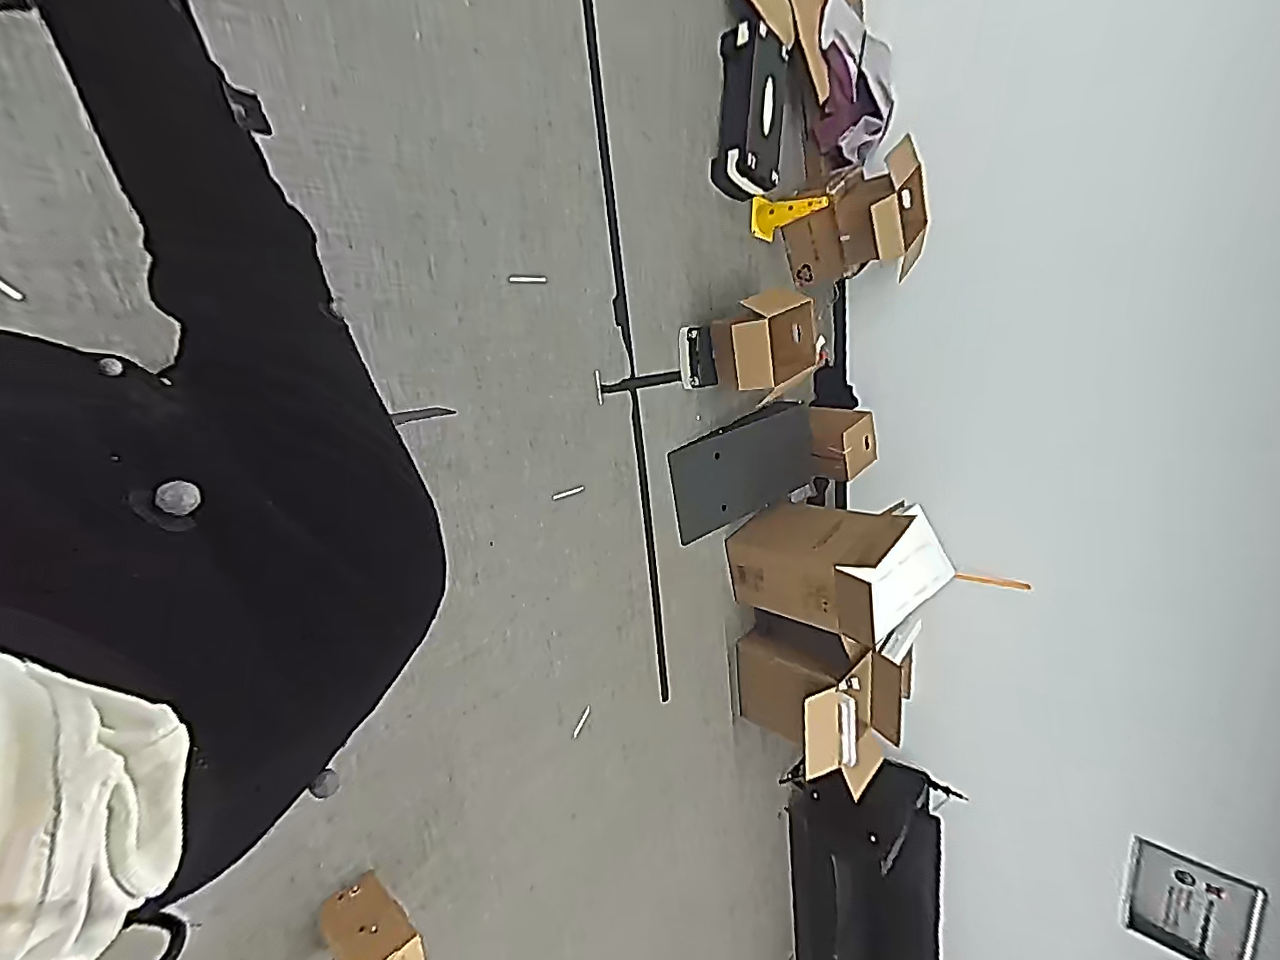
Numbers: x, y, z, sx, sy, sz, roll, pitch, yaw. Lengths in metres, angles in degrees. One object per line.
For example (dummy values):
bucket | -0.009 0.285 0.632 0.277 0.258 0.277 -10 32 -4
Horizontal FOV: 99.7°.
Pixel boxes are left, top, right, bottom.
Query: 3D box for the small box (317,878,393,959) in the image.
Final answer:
small box | -0.844 1.362 1.626 0.168 0.176 0.179 -17 108 -45

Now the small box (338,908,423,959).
small box | -0.720 1.373 1.518 0.168 0.176 0.179 -18 108 -45
